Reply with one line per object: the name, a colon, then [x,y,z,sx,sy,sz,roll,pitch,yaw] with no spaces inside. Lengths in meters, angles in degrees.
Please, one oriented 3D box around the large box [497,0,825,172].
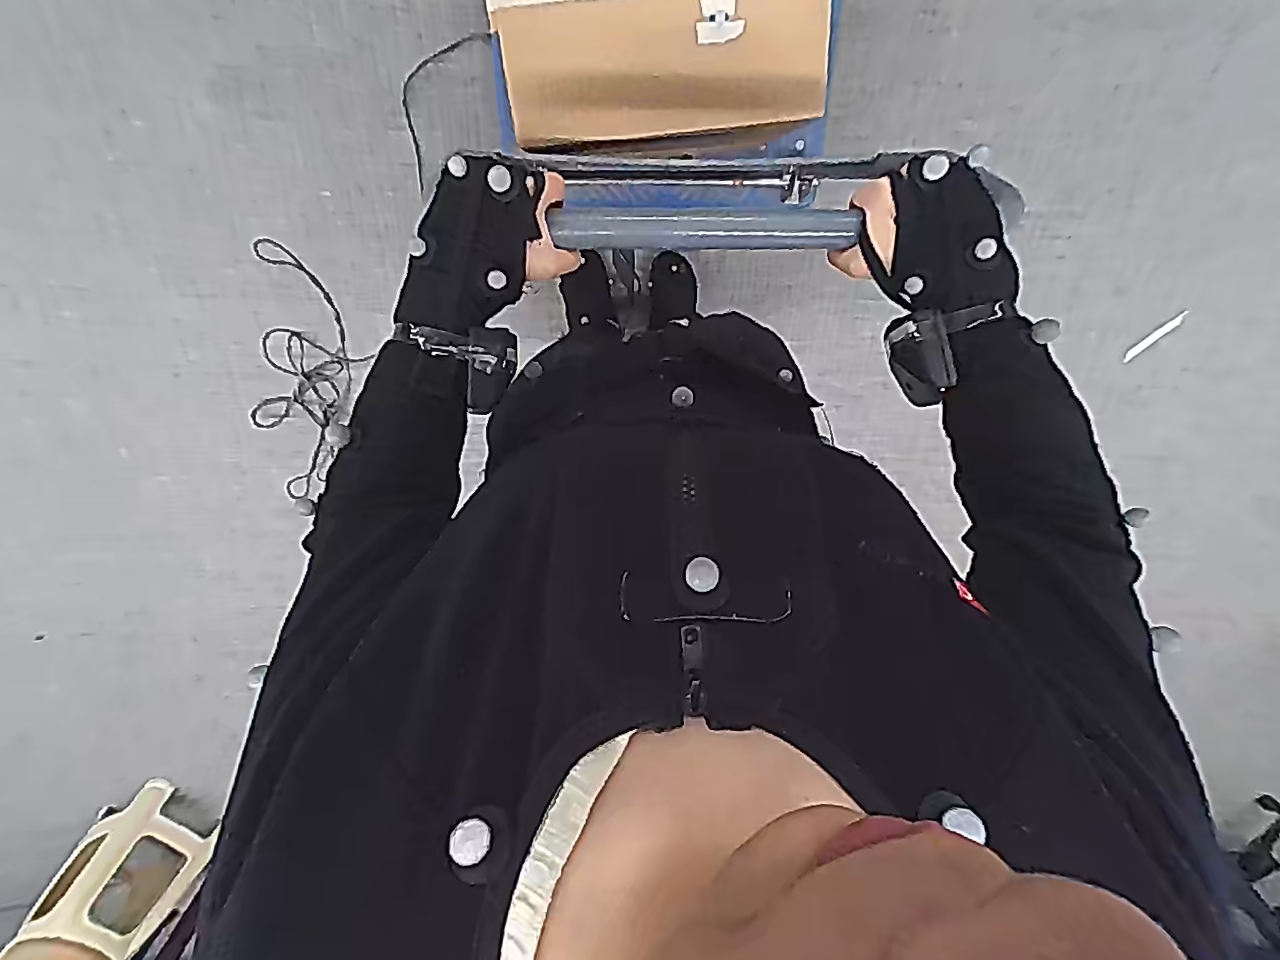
large box: [0.015,-0.654,0.778,0.408,0.320,0.320,-7,116,-1]
